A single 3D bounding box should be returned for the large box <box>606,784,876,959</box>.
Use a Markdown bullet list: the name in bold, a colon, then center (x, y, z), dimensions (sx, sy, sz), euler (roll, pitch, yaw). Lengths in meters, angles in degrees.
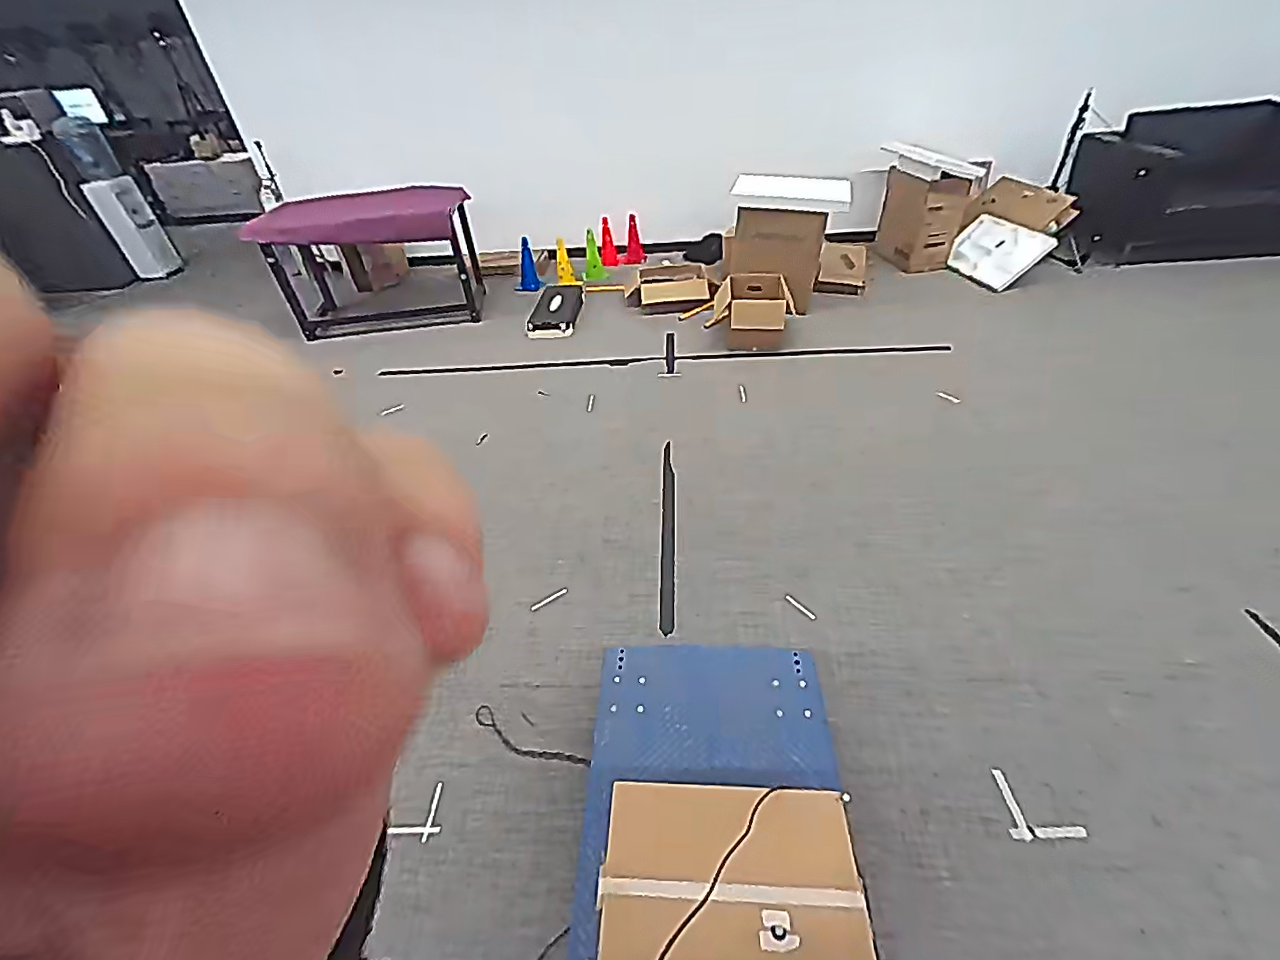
- **large box**: center (0.156, 0.765, 0.952), dimensions (0.408, 0.320, 0.320), euler (0, 41, 4)
